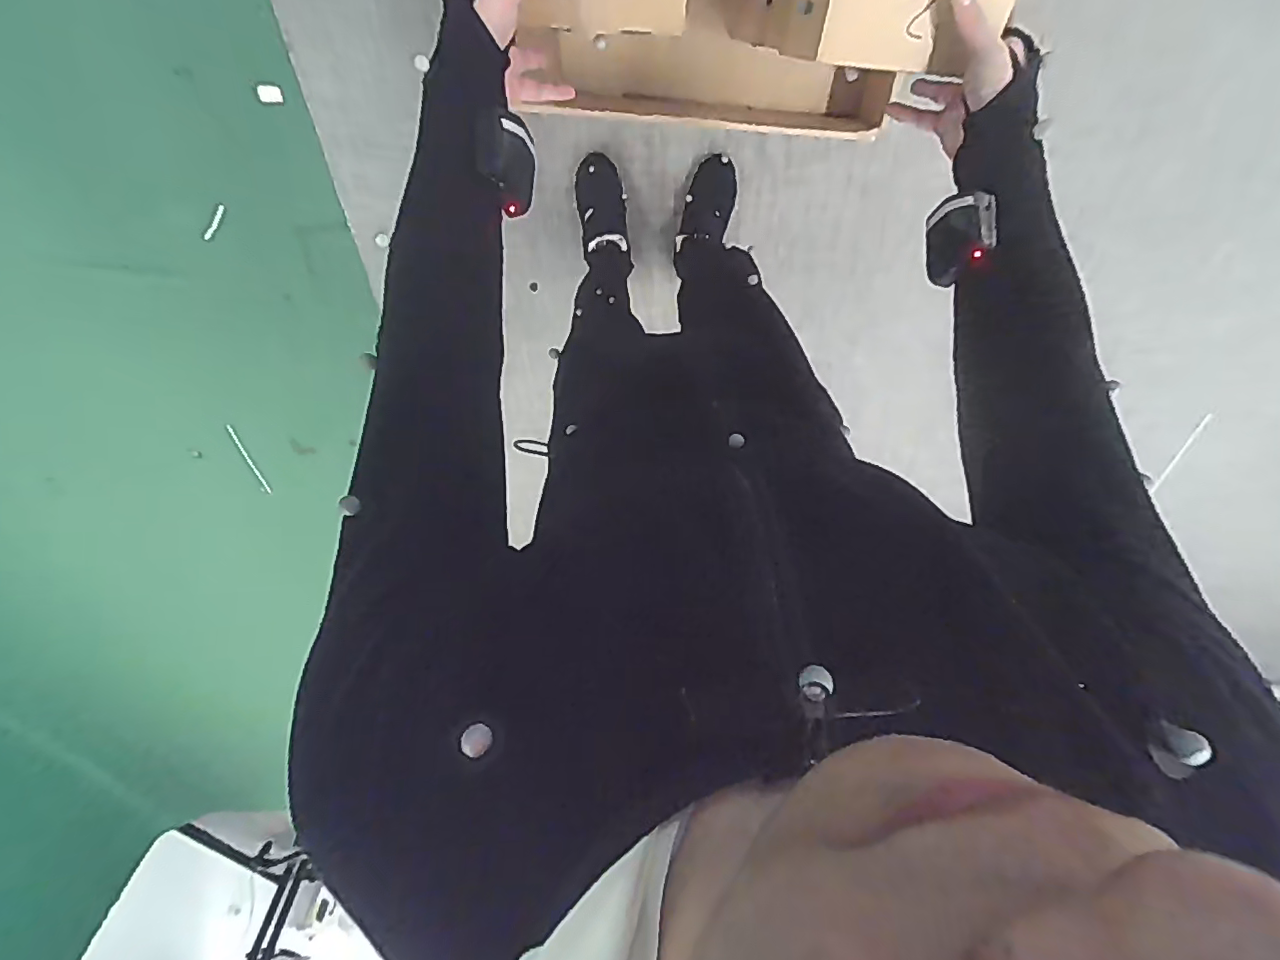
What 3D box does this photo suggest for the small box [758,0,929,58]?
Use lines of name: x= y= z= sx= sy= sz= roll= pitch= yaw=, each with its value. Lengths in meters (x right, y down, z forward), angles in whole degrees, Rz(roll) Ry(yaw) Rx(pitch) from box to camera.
small box: x=0.243 y=-0.614 z=0.630 sx=0.168 sy=0.176 sz=0.179 roll=4 pitch=129 yaw=-3

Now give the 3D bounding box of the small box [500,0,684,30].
small box: x=-0.040 y=-0.532 z=0.496 sx=0.168 sy=0.176 sz=0.179 roll=2 pitch=131 yaw=0
